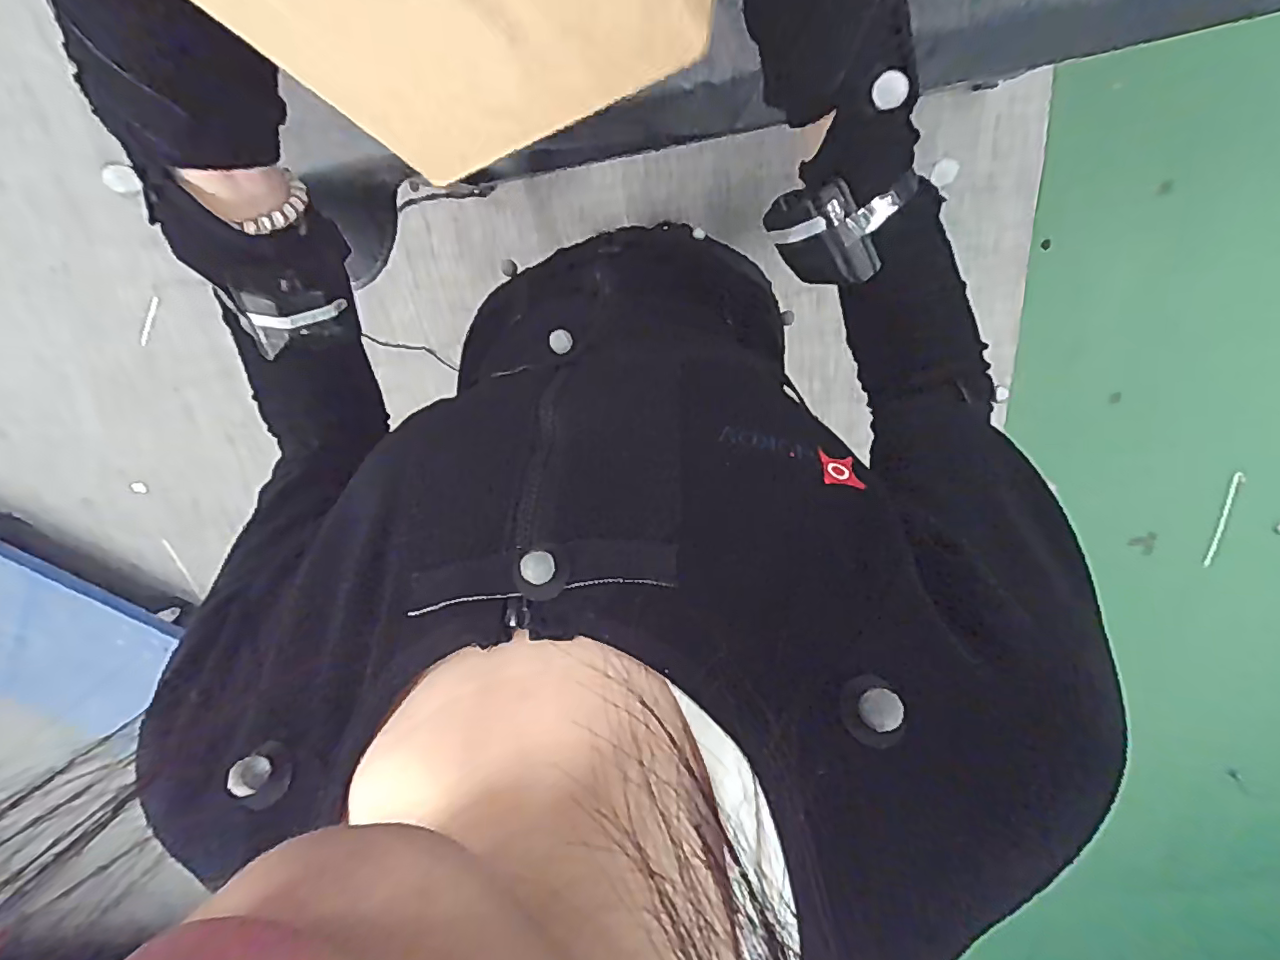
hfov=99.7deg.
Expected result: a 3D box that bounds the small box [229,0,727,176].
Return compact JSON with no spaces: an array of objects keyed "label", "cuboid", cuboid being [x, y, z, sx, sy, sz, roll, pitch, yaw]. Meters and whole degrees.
[{"label":"small box","cuboid":[-0.072,-0.253,0.182,0.168,0.176,0.179,4,83,37]}]
